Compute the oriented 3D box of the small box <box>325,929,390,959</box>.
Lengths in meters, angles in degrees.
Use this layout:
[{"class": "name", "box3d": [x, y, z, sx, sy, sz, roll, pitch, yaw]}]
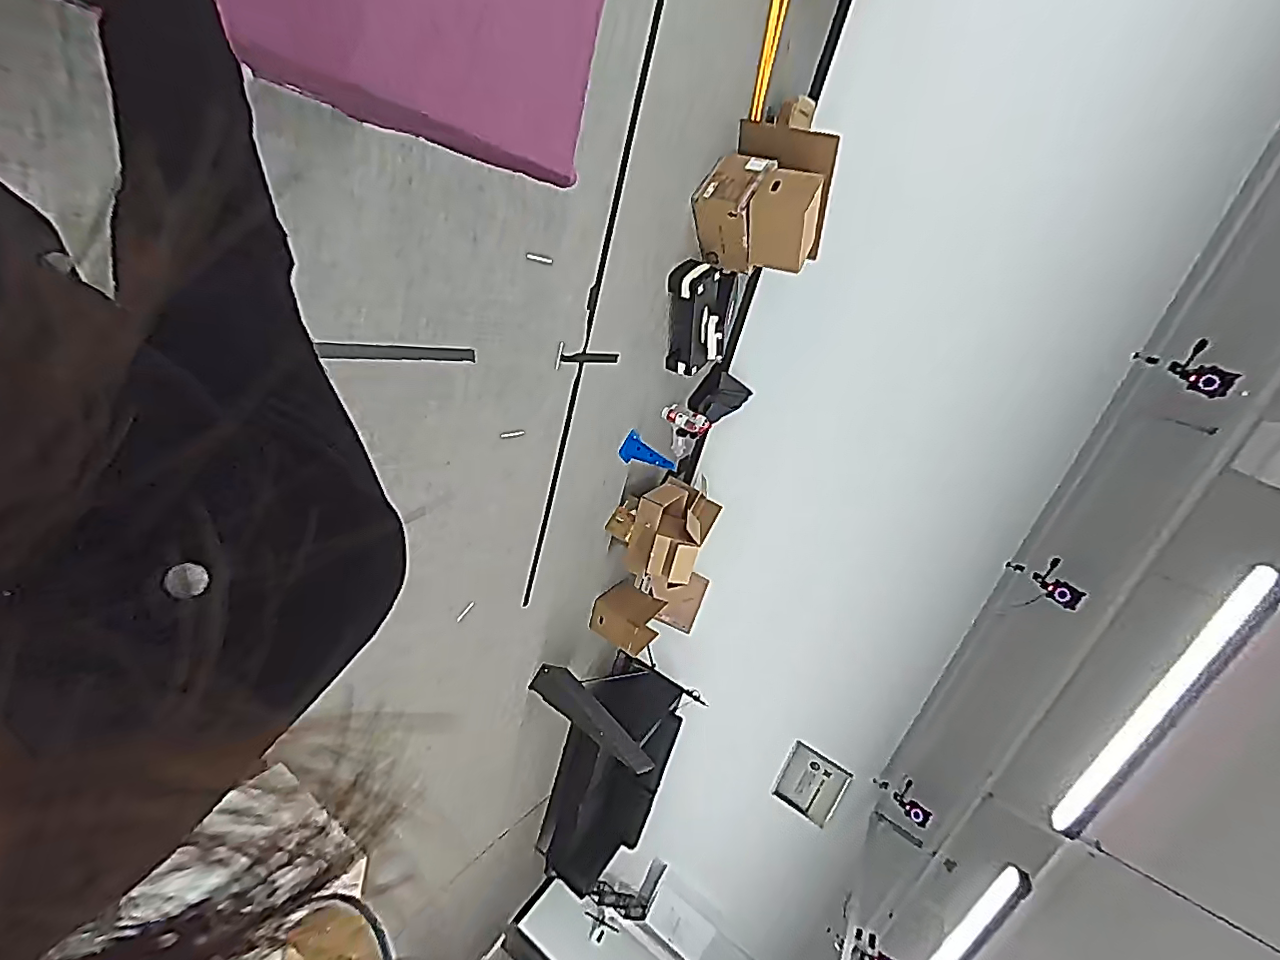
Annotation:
[{"class": "small box", "box3d": [-0.920, 1.603, 1.726, 0.168, 0.176, 0.179, -17, 130, -61]}]
